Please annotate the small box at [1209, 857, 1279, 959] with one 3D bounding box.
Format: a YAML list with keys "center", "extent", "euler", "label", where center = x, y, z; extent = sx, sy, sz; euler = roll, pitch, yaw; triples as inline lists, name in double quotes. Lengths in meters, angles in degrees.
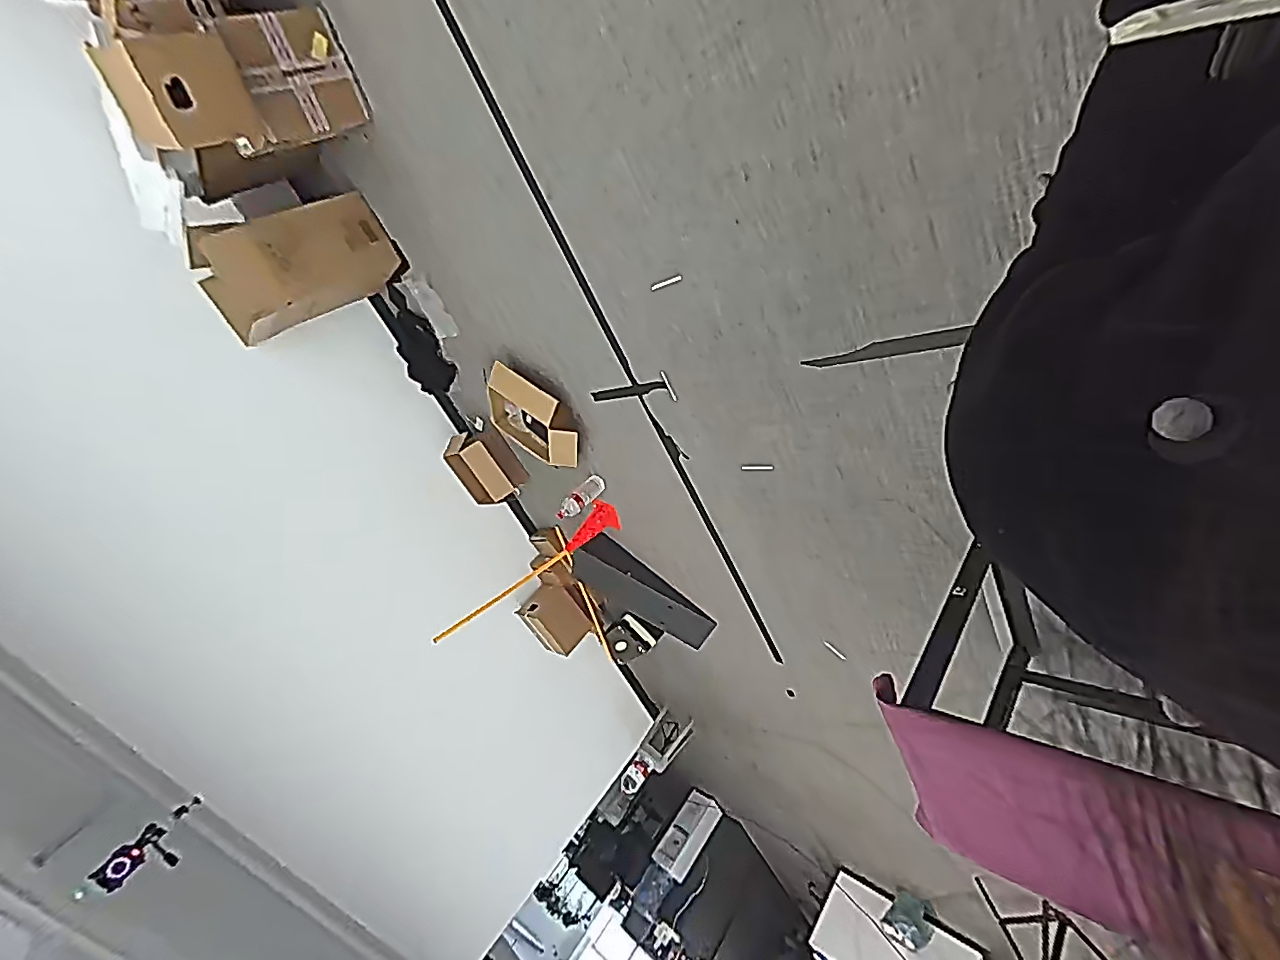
- center: [1.042, 0.767, 0.872]
  extent: [0.168, 0.176, 0.179]
  euler: [2, 128, 47]
  label: "small box"
